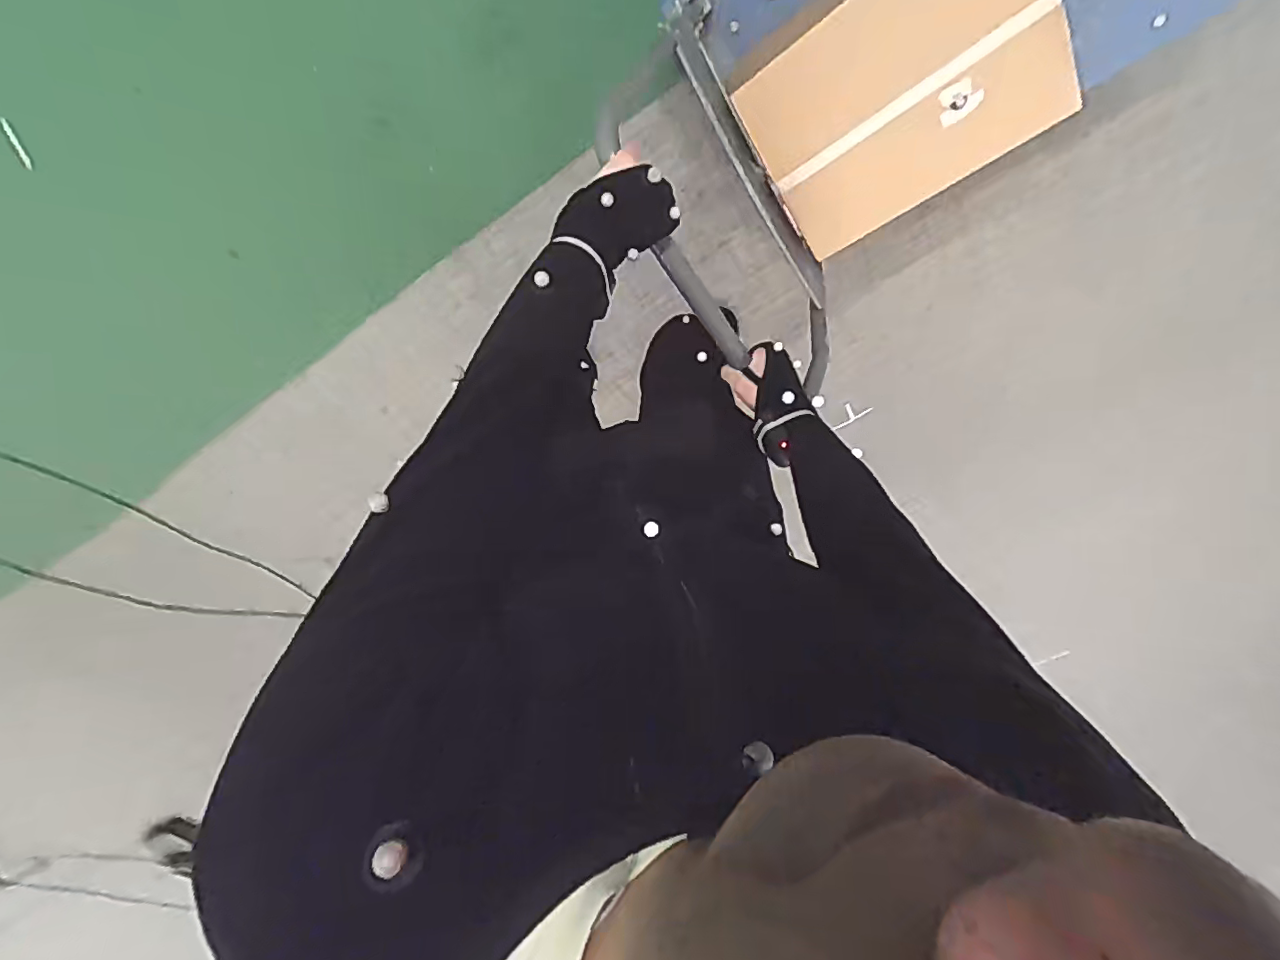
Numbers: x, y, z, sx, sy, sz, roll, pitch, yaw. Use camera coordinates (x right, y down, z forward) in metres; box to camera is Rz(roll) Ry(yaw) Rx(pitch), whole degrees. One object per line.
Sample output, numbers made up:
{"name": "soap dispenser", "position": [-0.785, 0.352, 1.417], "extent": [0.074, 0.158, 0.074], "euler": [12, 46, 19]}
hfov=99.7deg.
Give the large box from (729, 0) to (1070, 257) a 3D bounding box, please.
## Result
{"name": "large box", "position": [0.402, -0.673, 0.922], "extent": [0.408, 0.320, 0.320], "euler": [-25, 125, 29]}
